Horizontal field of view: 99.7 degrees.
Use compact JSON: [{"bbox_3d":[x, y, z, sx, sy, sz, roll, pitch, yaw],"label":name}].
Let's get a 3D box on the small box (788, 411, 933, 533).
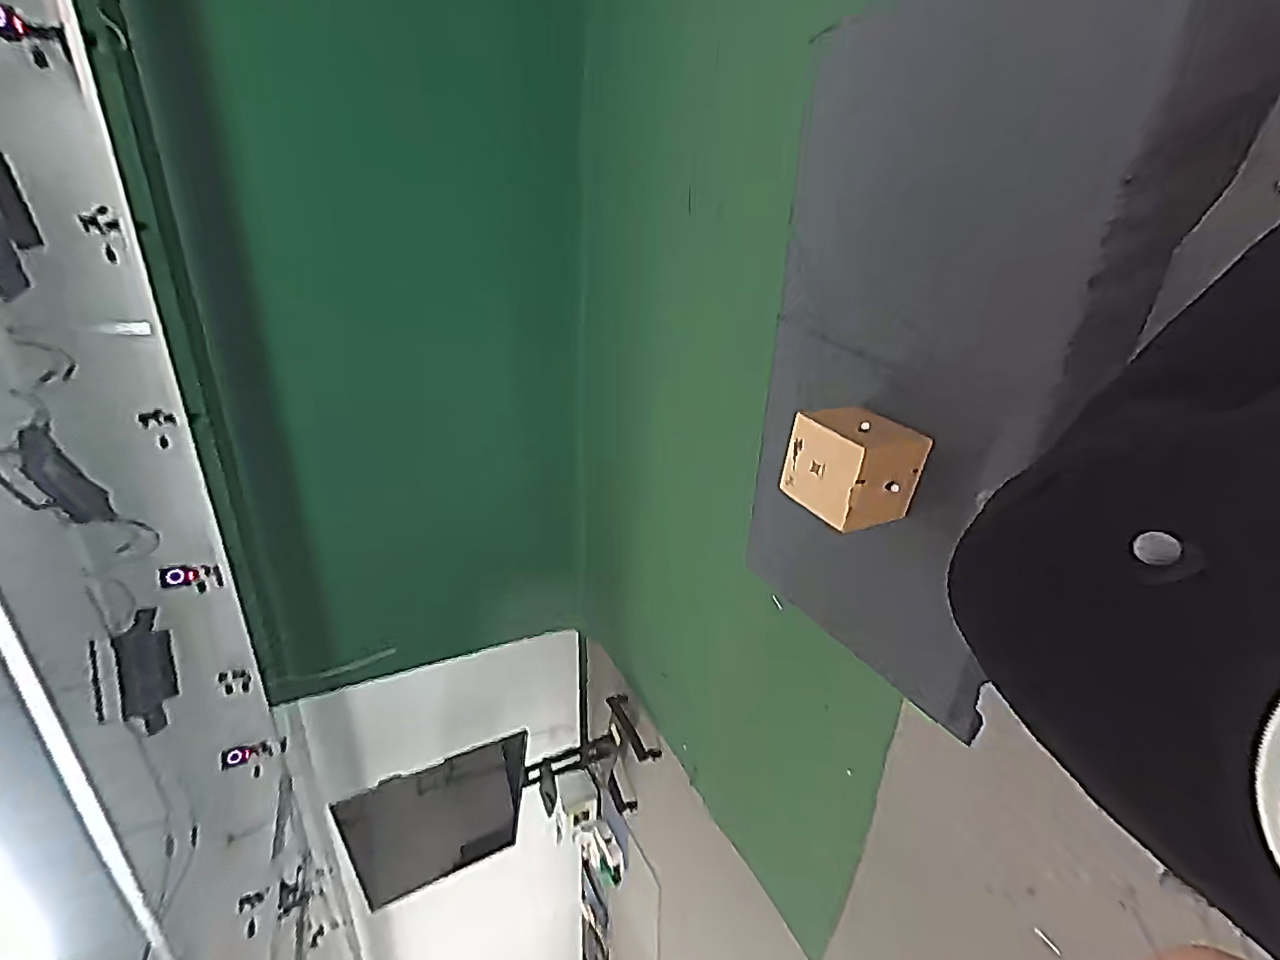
[{"bbox_3d":[0.413,-0.025,1.022,0.179,0.176,0.168,42,135,53],"label":"small box"}]
